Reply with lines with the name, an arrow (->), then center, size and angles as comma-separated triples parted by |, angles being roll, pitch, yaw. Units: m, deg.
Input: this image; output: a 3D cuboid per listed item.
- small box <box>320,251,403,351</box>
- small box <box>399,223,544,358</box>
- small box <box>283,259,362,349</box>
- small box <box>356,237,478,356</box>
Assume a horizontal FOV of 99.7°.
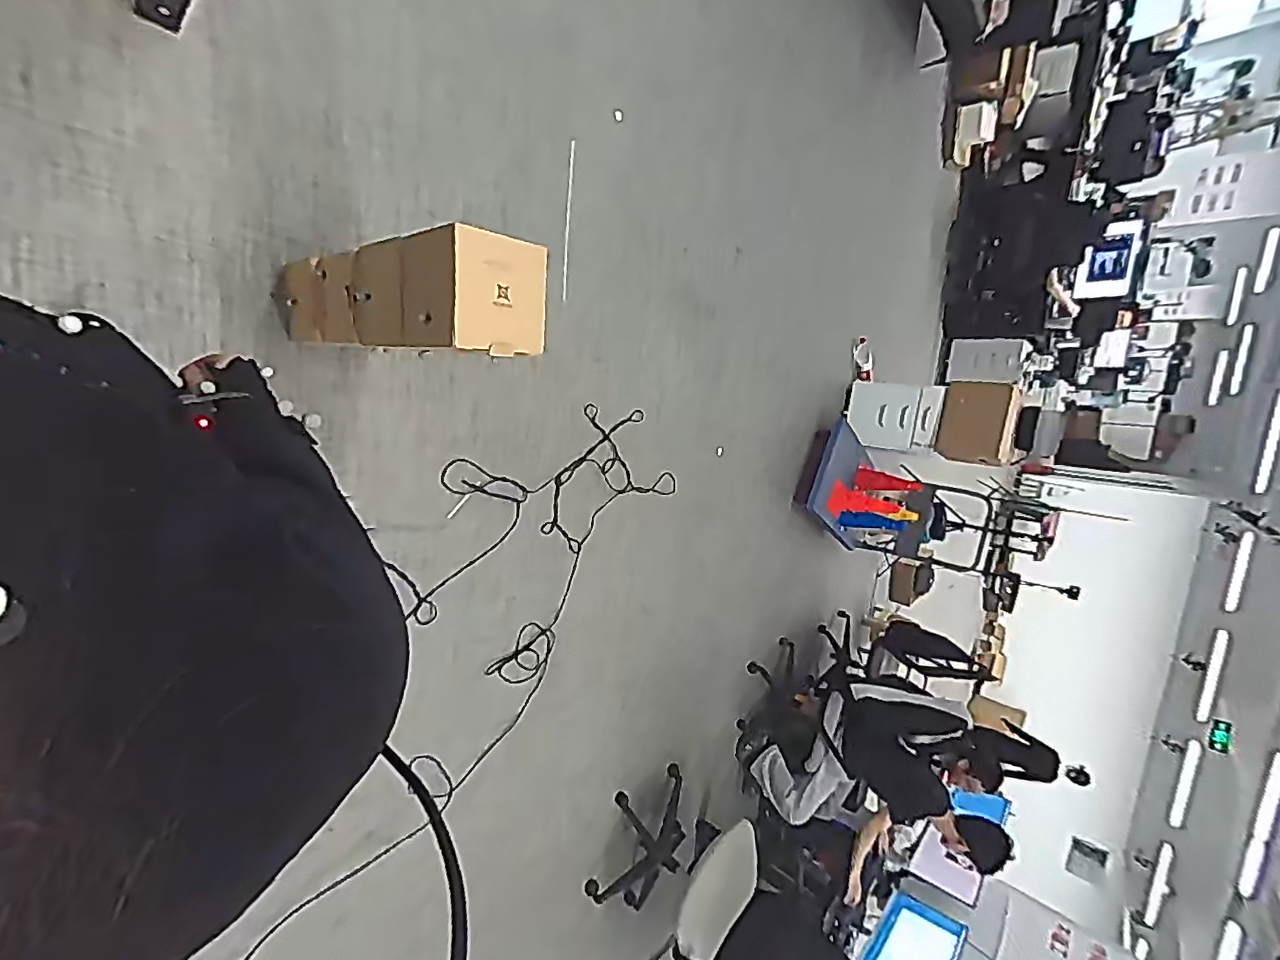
small box -> -0.522, -0.348, 1.085 | 0.179, 0.176, 0.168 | -10, 107, -48
small box -> -0.275, -0.294, 0.878 | 0.168, 0.176, 0.179 | -9, 105, -48
small box -> -0.652, -0.375, 1.182 | 0.179, 0.176, 0.168 | -10, 106, -47
small box -> -0.398, -0.323, 0.982 | 0.168, 0.176, 0.179 | -9, 107, -48
